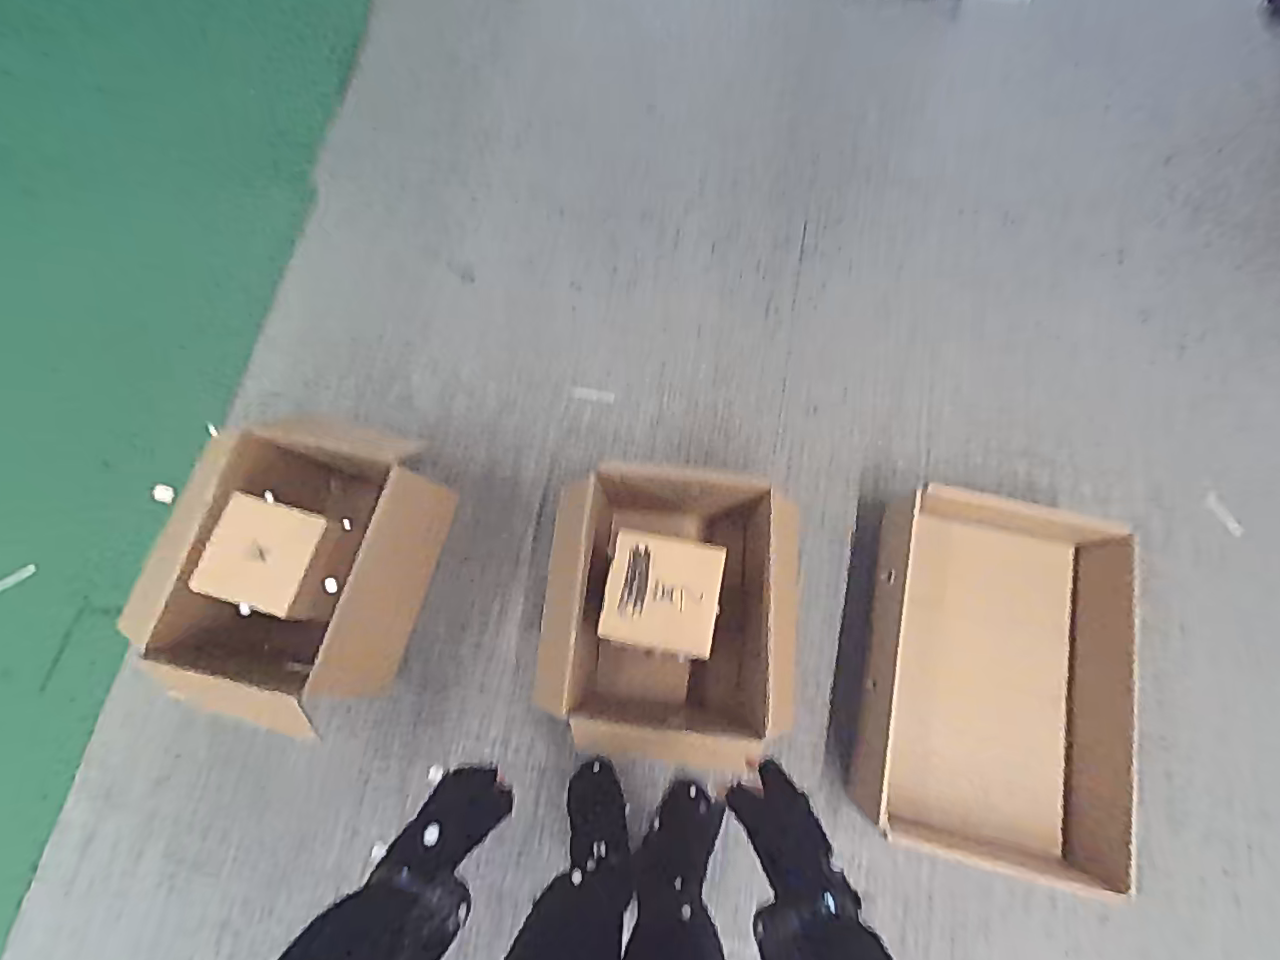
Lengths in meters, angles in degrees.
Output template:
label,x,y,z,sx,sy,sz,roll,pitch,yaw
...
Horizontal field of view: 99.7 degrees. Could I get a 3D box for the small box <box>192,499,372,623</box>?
label,x,y,z,sx,sy,sz,roll,pitch,yaw
small box,-0.617,0.150,0.961,0.179,0.176,0.168,15,74,5
